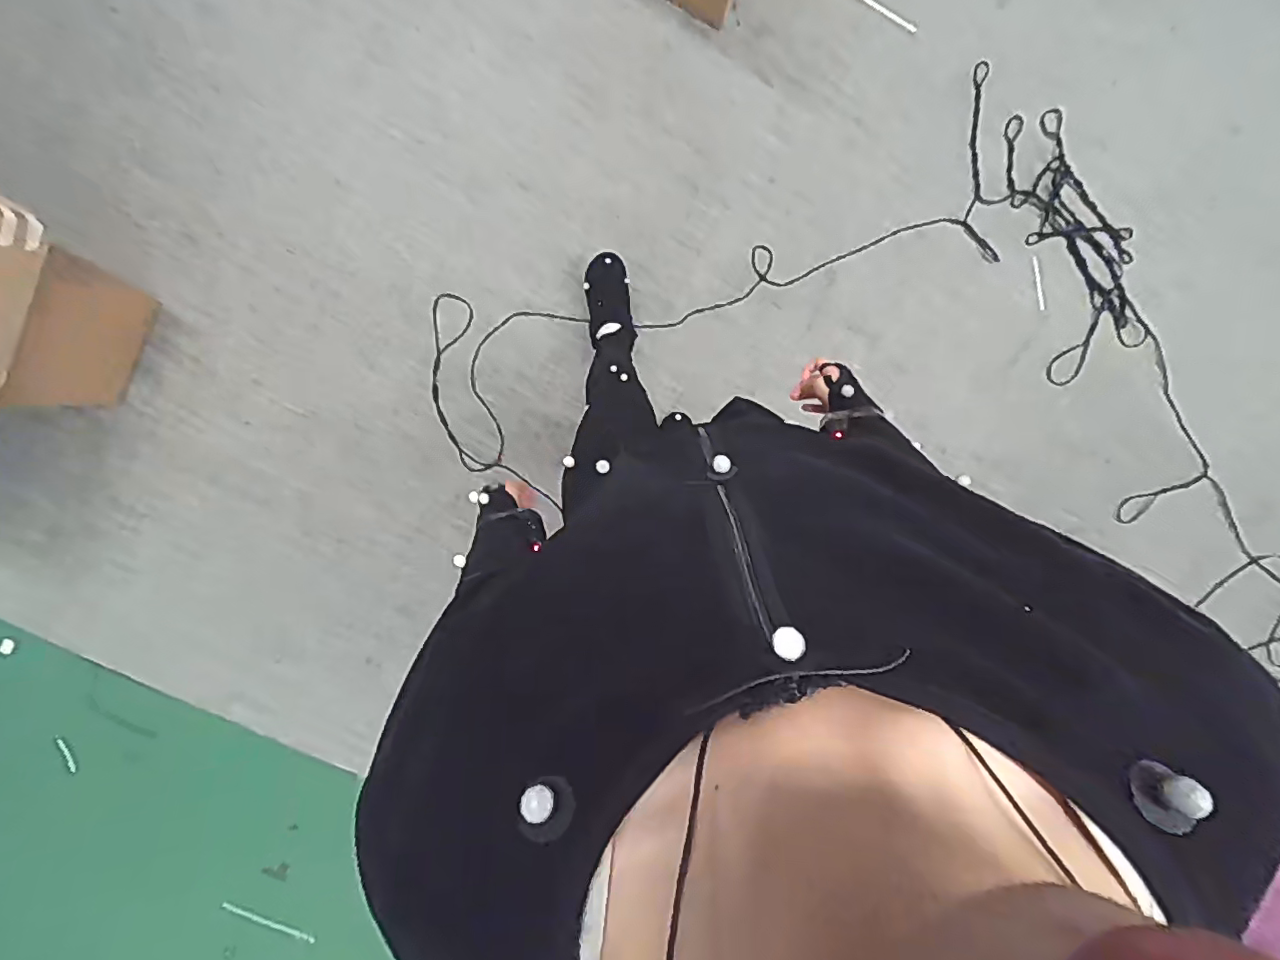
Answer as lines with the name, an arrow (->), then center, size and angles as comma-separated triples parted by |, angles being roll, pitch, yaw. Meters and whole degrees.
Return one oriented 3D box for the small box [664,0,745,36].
small box -> 0.164, -1.147, 1.196 | 0.179, 0.176, 0.168 | 27, 100, -6
